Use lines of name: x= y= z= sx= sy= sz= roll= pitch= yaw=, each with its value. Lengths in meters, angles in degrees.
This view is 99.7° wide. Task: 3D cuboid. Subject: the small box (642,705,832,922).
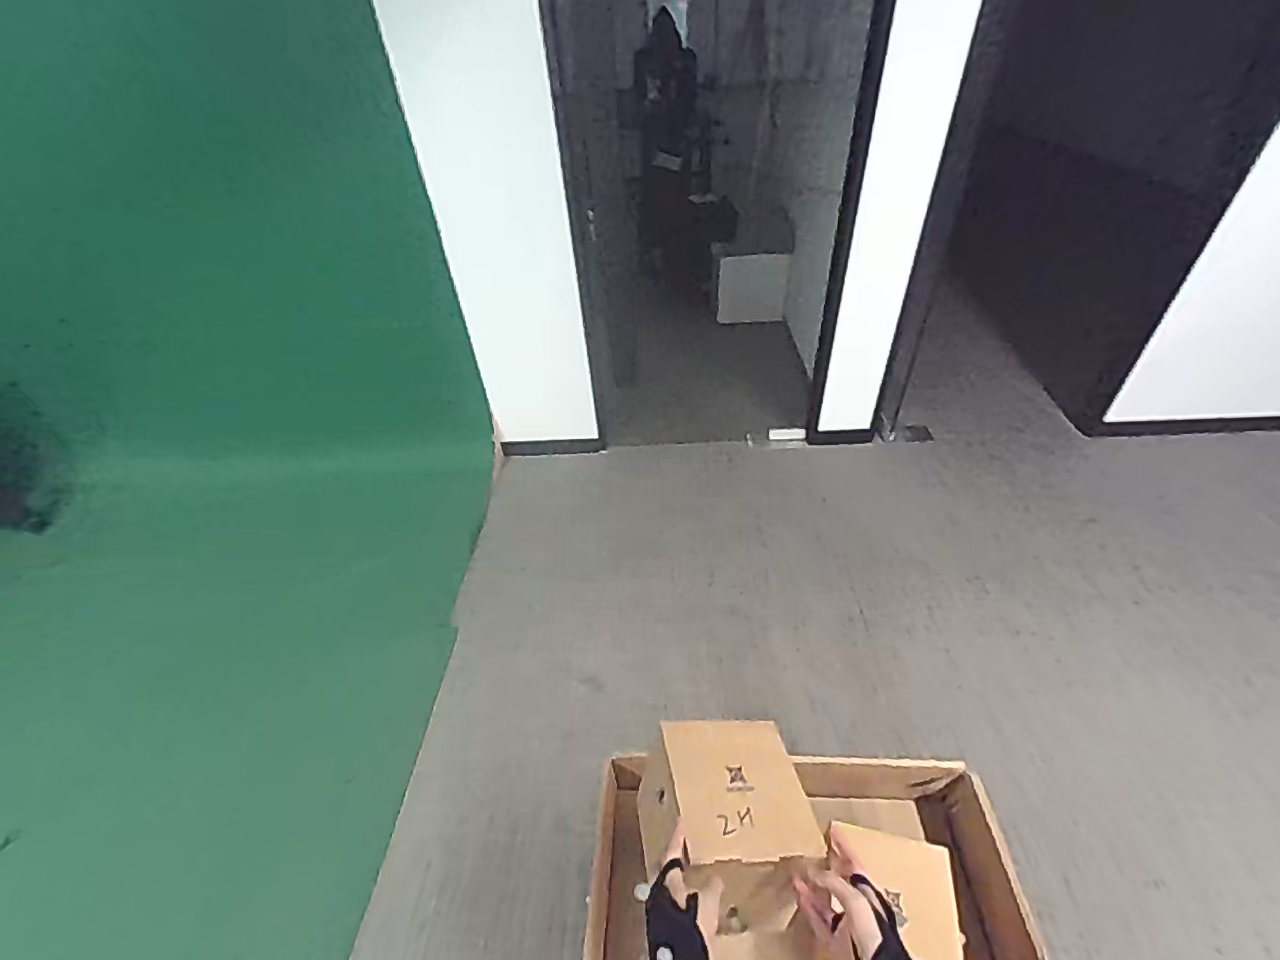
small box: x=0.105 y=0.413 z=0.683 sx=0.168 sy=0.176 sz=0.179 roll=5 pitch=30 yaw=-12
